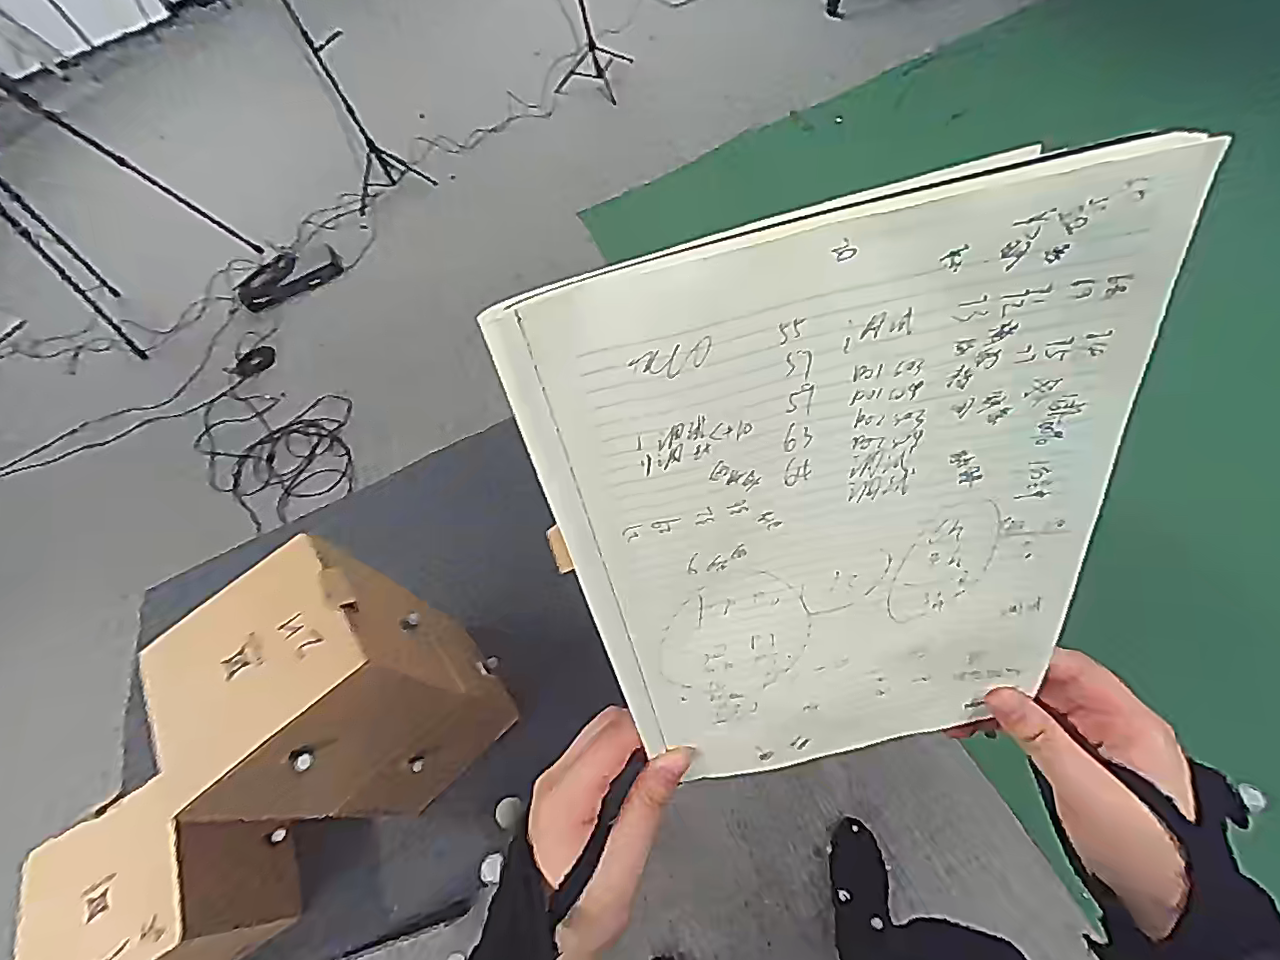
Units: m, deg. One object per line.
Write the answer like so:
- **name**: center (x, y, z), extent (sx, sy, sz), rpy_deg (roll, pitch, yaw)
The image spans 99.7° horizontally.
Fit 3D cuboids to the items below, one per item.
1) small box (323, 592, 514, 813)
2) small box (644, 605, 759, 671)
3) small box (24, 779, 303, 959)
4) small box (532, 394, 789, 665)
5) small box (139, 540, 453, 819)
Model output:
- **small box**: center (-0.291, 0.278, 0.672), extent (0.179, 0.176, 0.168), rpy_deg (-42, 60, -13)
- **small box**: center (0.046, 0.121, 0.681), extent (0.168, 0.176, 0.179), rpy_deg (-15, 57, 5)
- **small box**: center (-0.526, 0.463, 0.616), extent (0.168, 0.176, 0.179), rpy_deg (-32, 58, -7)
- **small box**: center (0.025, 0.055, 0.531), extent (0.179, 0.176, 0.168), rpy_deg (-29, 57, -3)
- **small box**: center (-0.323, 0.198, 0.531), extent (0.179, 0.176, 0.168), rpy_deg (-40, 59, -11)
